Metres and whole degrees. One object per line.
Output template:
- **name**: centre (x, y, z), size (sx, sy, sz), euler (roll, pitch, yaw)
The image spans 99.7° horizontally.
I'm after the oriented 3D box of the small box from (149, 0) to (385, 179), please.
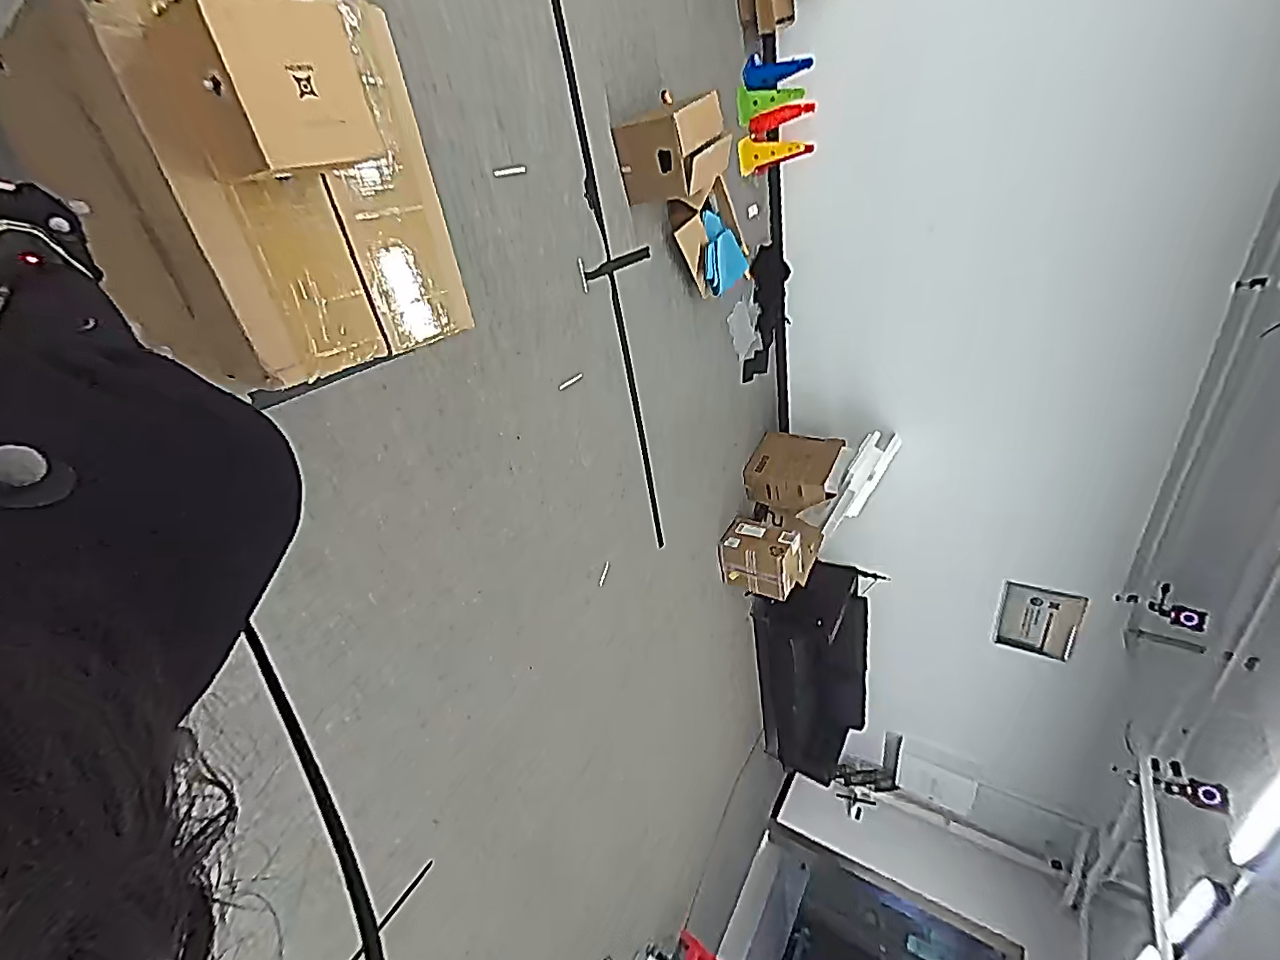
- **small box**: centre (-0.477, -0.506, 0.701), size (0.168, 0.176, 0.179), euler (-41, 133, -41)
